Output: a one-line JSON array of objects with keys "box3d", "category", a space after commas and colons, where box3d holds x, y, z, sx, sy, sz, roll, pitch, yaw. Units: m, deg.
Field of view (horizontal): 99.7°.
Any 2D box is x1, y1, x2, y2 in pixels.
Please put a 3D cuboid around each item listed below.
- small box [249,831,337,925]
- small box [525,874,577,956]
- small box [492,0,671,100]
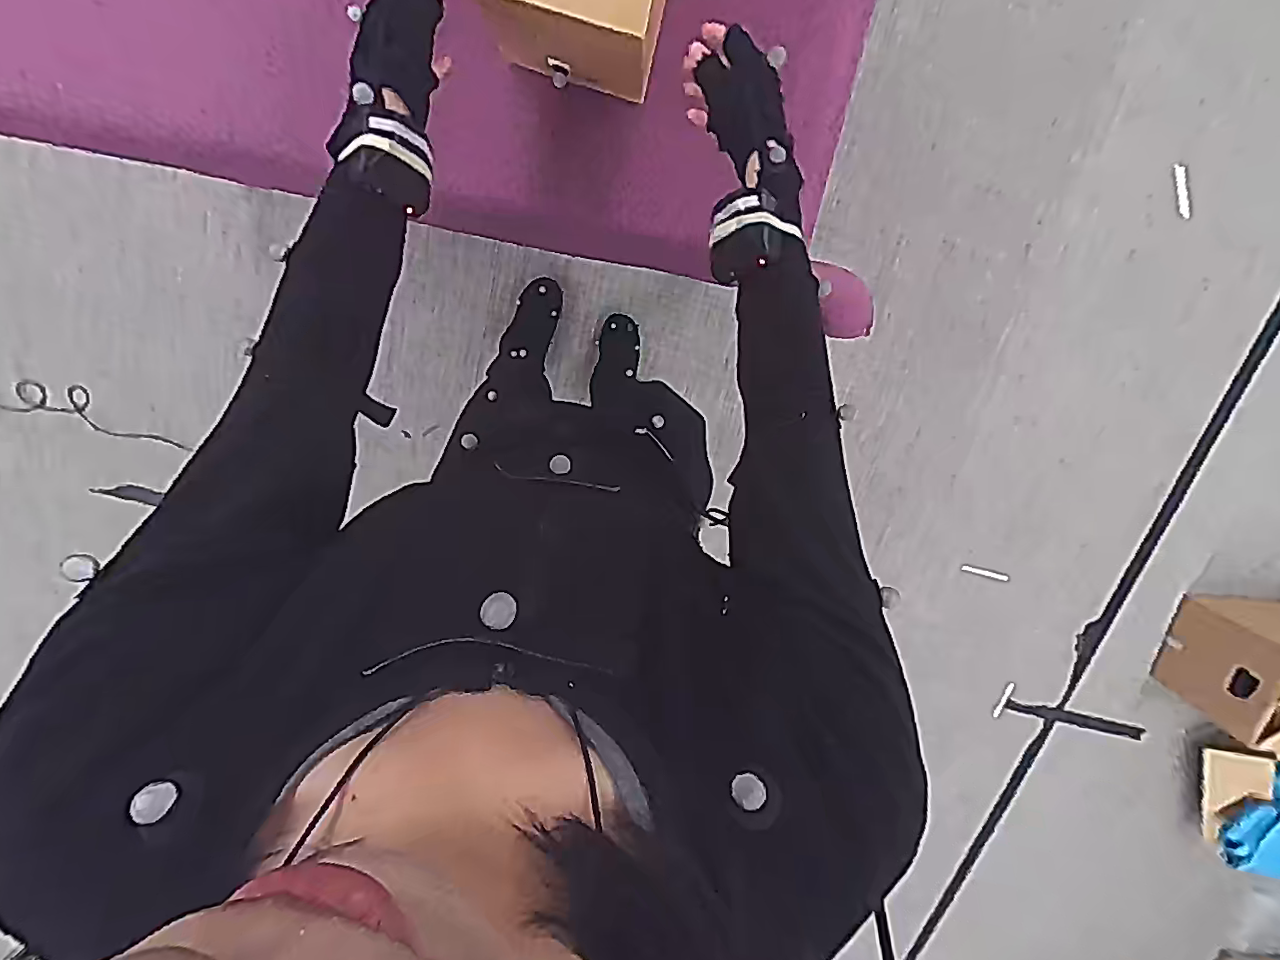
[{"box3d": [-1.176, 1.353, 1.846, 0.168, 0.176, 0.179, 29, 104, -10], "category": "small box"}, {"box3d": [-0.316, 1.545, 1.928, 0.168, 0.176, 0.179, 3, 108, -3], "category": "small box"}, {"box3d": [-0.050, -0.522, 0.534, 0.168, 0.176, 0.179, 14, 107, -4], "category": "small box"}]
